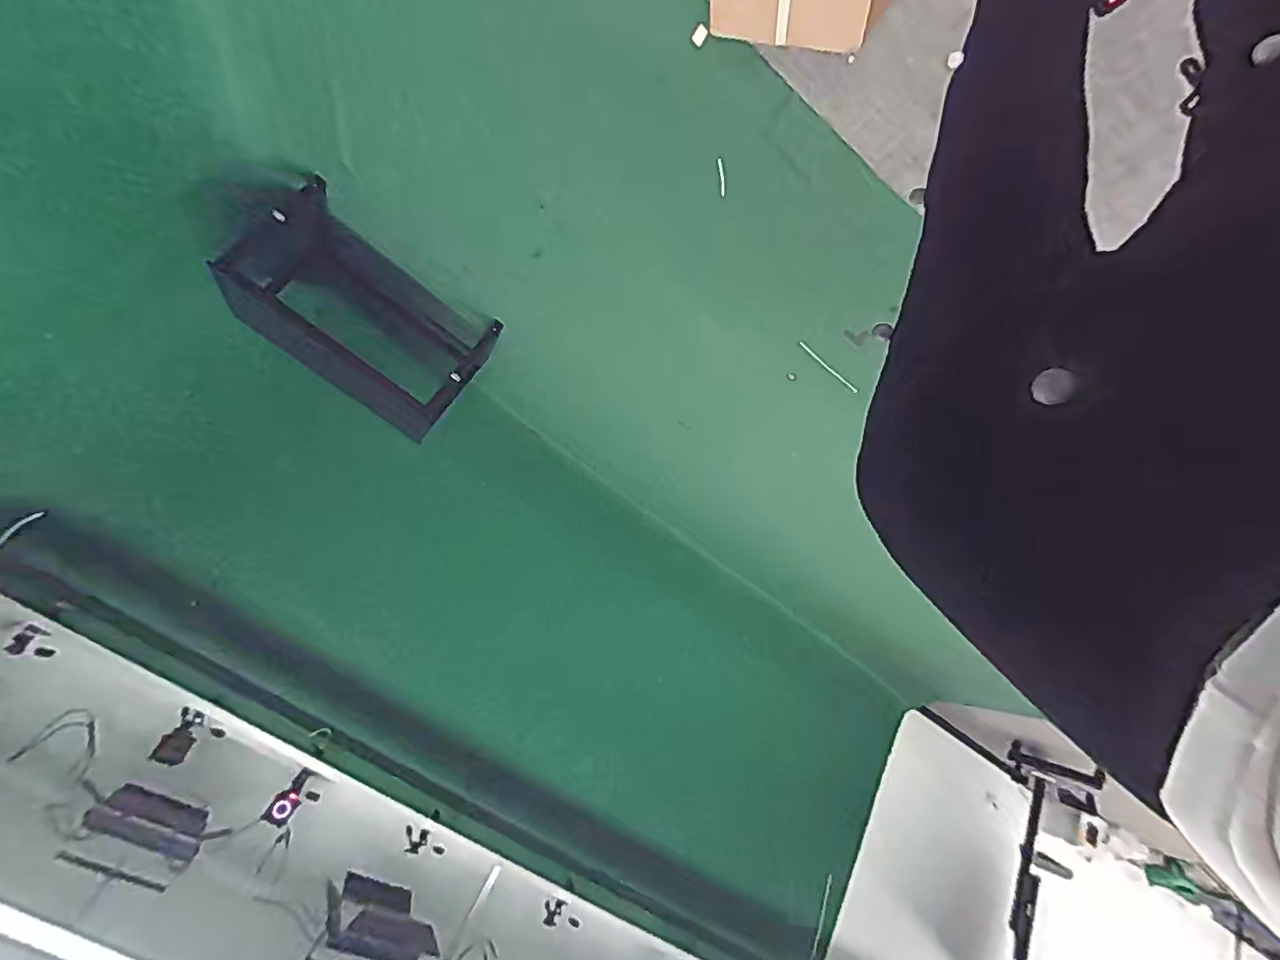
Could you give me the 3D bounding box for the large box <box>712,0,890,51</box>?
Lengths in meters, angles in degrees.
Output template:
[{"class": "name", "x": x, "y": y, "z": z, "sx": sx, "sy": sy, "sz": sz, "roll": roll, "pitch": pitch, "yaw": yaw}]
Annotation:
[{"class": "large box", "x": 0.329, "y": -1.075, "z": 0.945, "sx": 0.320, "sy": 0.320, "sz": 0.408, "roll": 24, "pitch": 157, "yaw": 18}]
